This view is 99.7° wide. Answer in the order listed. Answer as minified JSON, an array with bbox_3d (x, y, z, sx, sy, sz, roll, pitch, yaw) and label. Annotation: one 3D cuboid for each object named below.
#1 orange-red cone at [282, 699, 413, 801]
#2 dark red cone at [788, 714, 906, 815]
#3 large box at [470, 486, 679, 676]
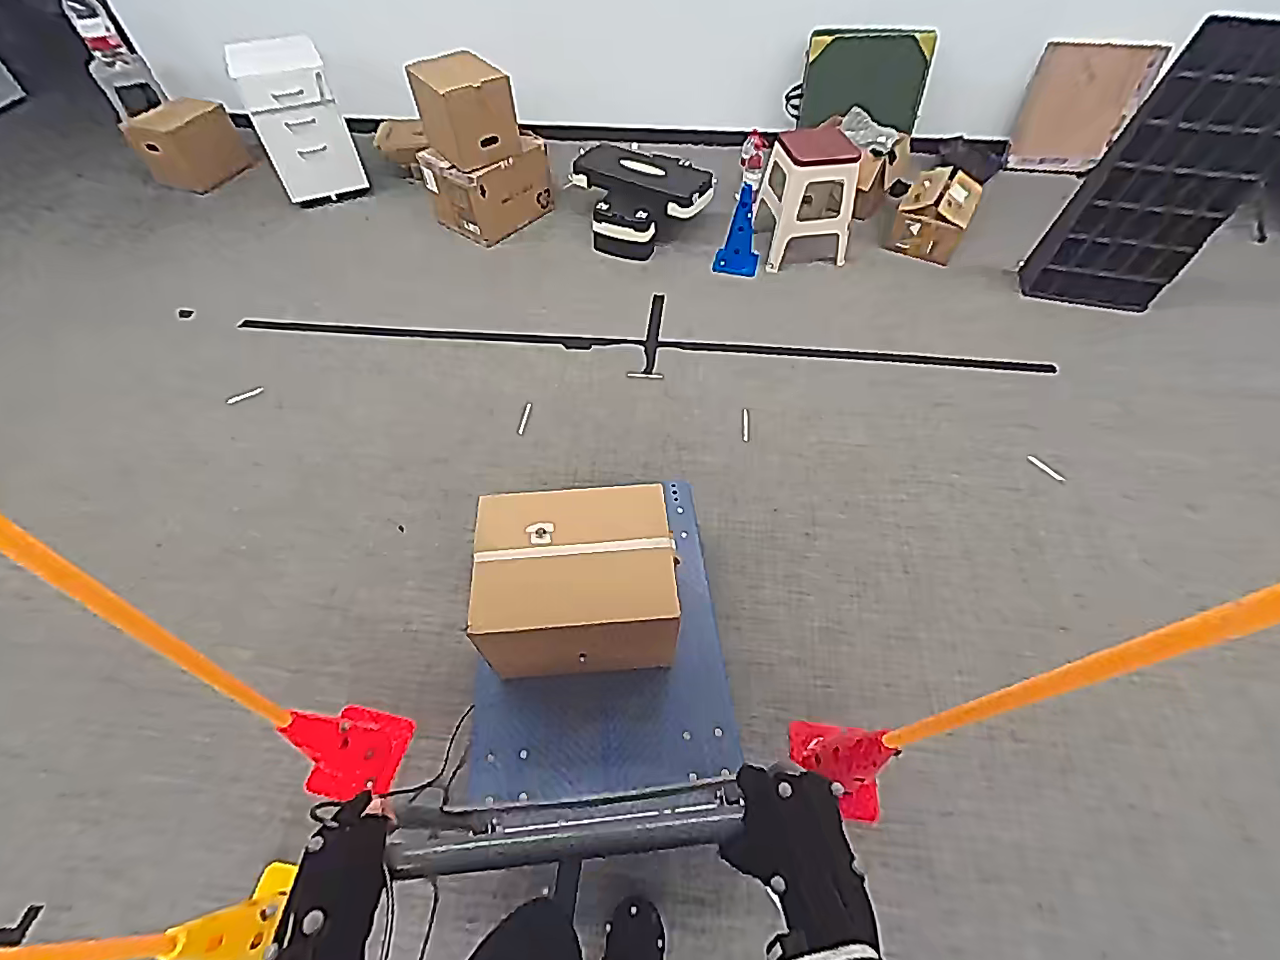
[{"bbox_3d":[-0.674,0.546,1.178,0.198,0.360,0.199,12,53,7],"label":"orange-red cone"},{"bbox_3d":[0.459,0.568,1.141,0.201,0.394,0.202,6,54,2],"label":"dark red cone"},{"bbox_3d":[-0.133,0.237,1.227,0.408,0.320,0.320,-4,55,-2],"label":"large box"}]
